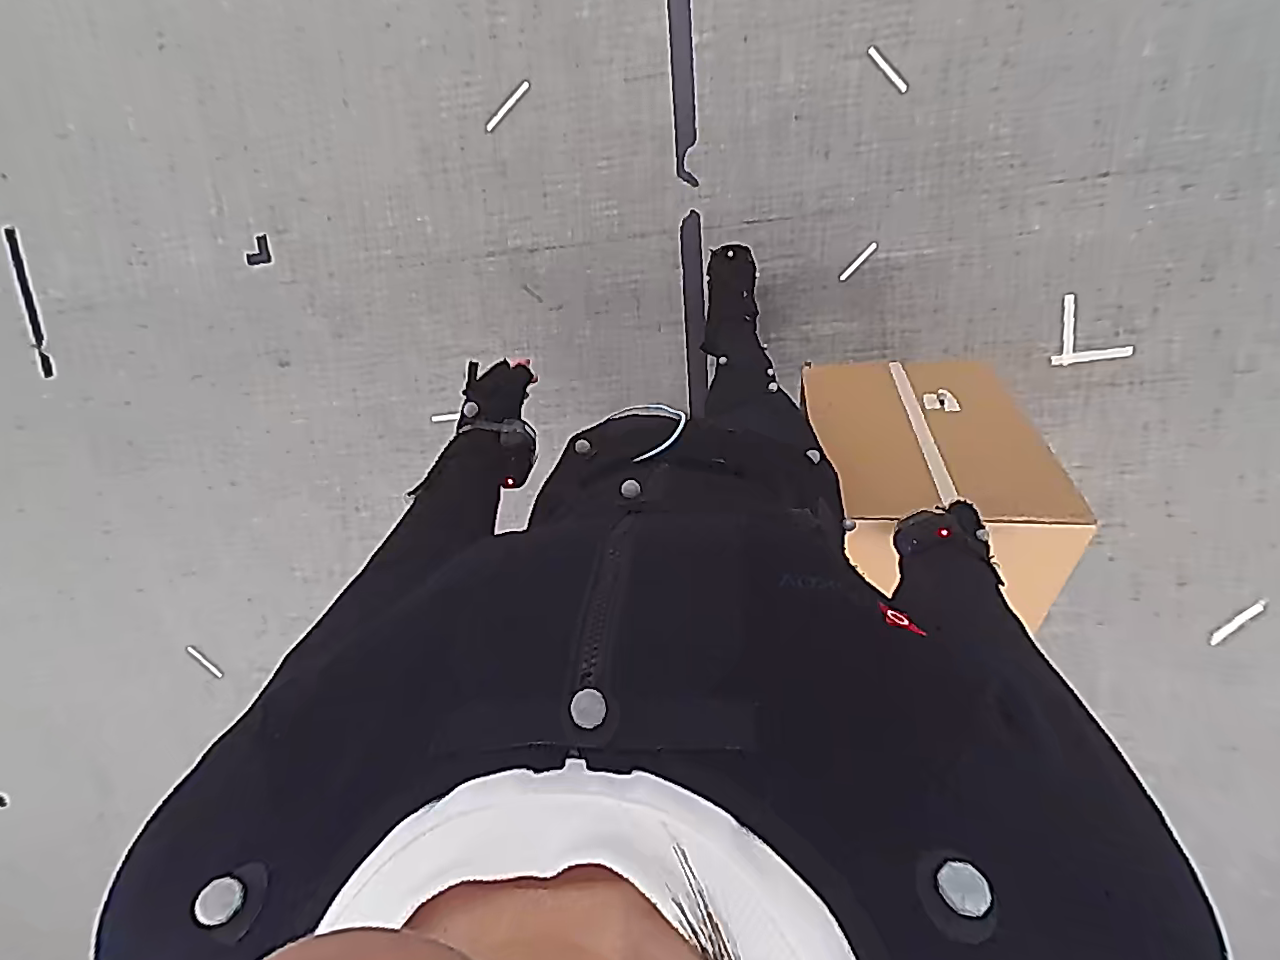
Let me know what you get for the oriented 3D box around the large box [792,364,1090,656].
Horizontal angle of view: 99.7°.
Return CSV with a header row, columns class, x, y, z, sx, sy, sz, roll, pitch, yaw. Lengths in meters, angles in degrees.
class,x,y,z,sx,sy,sz,roll,pitch,yaw
large box,0.438,0.038,0.916,0.320,0.408,0.320,1,128,10
